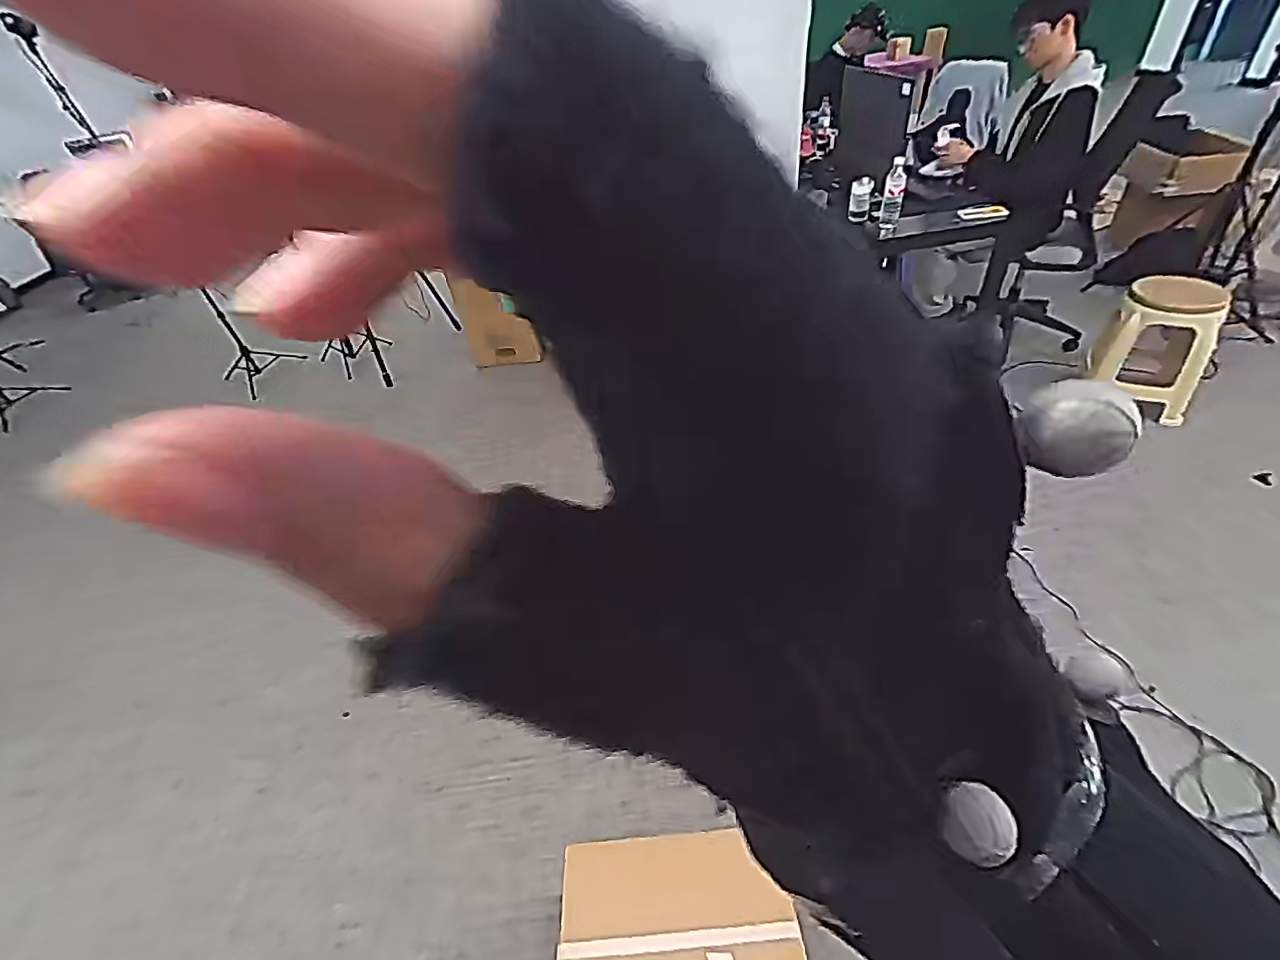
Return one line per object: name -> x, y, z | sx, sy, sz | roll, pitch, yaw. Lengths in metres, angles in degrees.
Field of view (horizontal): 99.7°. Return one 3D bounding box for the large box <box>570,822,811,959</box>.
large box -> 0.094, 0.880, 1.005 | 0.408, 0.320, 0.320 | -7, 41, 3
